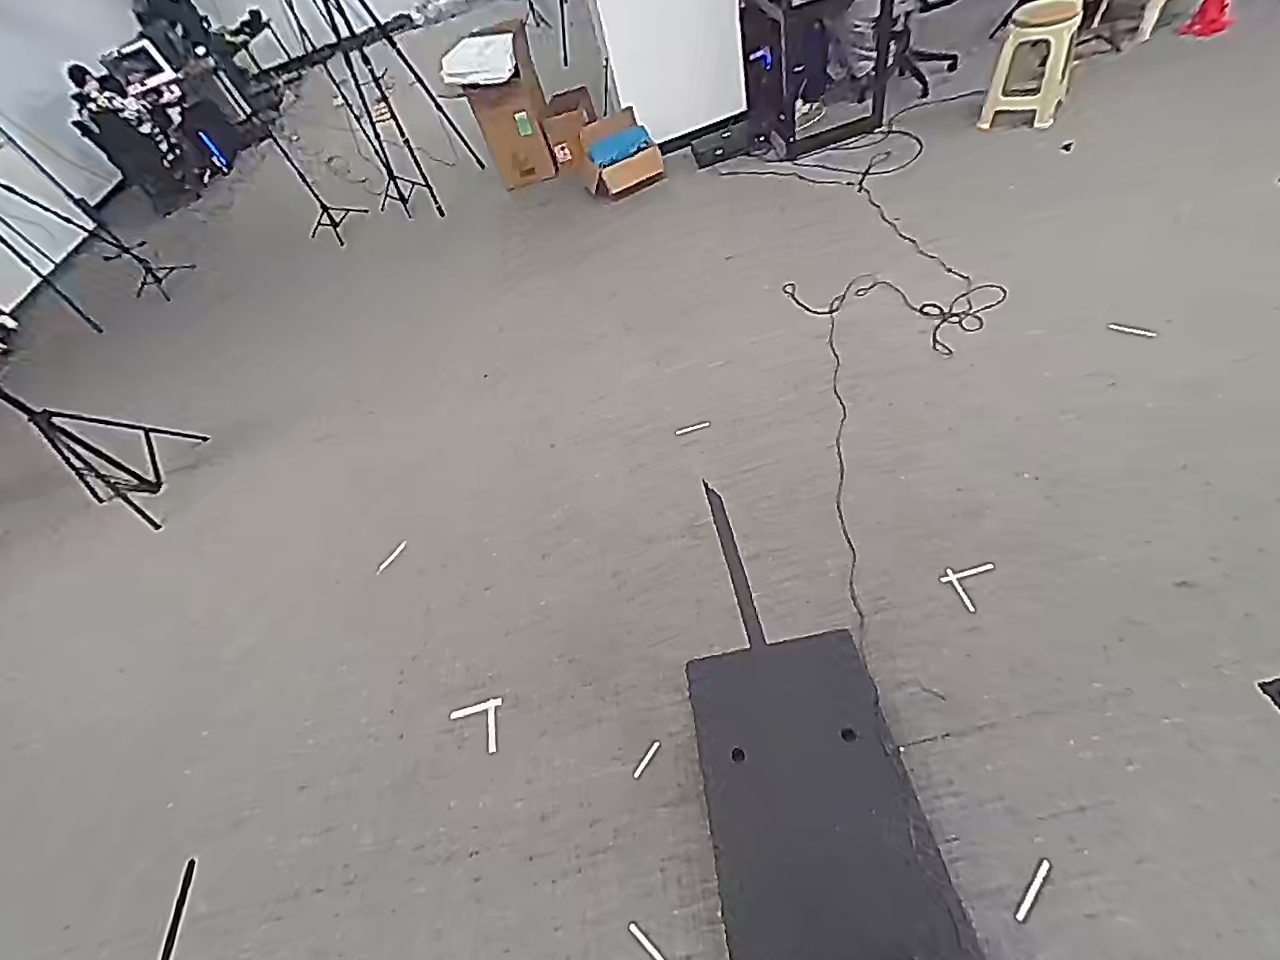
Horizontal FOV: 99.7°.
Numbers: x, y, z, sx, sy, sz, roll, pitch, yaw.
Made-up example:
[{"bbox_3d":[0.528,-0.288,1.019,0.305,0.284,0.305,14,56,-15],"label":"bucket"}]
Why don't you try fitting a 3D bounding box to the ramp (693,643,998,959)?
[{"bbox_3d":[0.431,0.855,1.222,0.509,0.206,0.991,-18,49,6],"label":"ramp"}]
